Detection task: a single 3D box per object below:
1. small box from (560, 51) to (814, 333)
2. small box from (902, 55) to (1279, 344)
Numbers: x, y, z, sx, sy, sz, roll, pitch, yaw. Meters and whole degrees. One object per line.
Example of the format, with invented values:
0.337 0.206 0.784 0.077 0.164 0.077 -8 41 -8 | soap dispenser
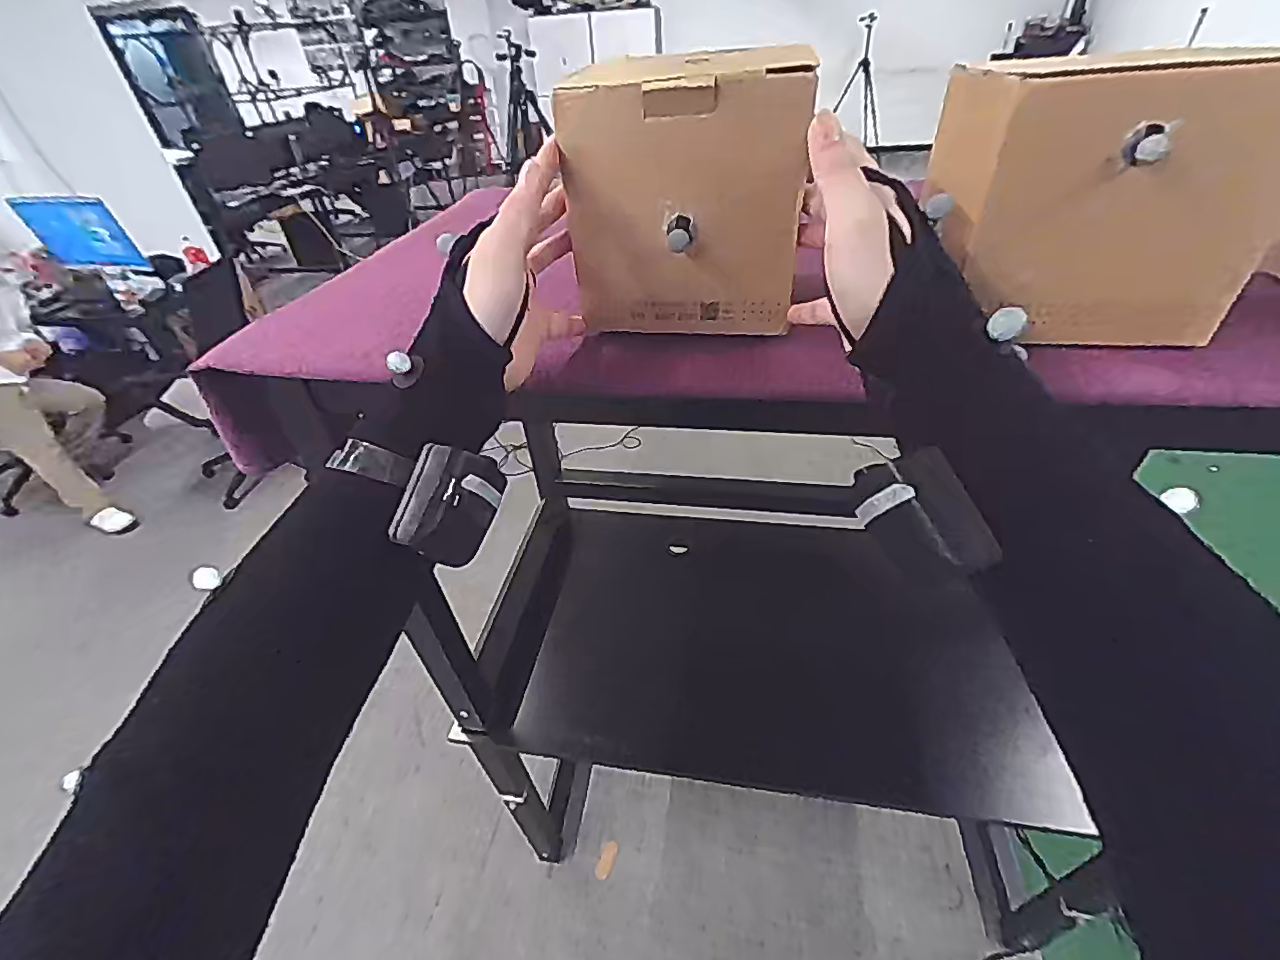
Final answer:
0.048 -0.236 0.451 0.168 0.176 0.179 4 43 10 | small box
0.326 -0.214 0.418 0.179 0.176 0.168 3 38 11 | small box
